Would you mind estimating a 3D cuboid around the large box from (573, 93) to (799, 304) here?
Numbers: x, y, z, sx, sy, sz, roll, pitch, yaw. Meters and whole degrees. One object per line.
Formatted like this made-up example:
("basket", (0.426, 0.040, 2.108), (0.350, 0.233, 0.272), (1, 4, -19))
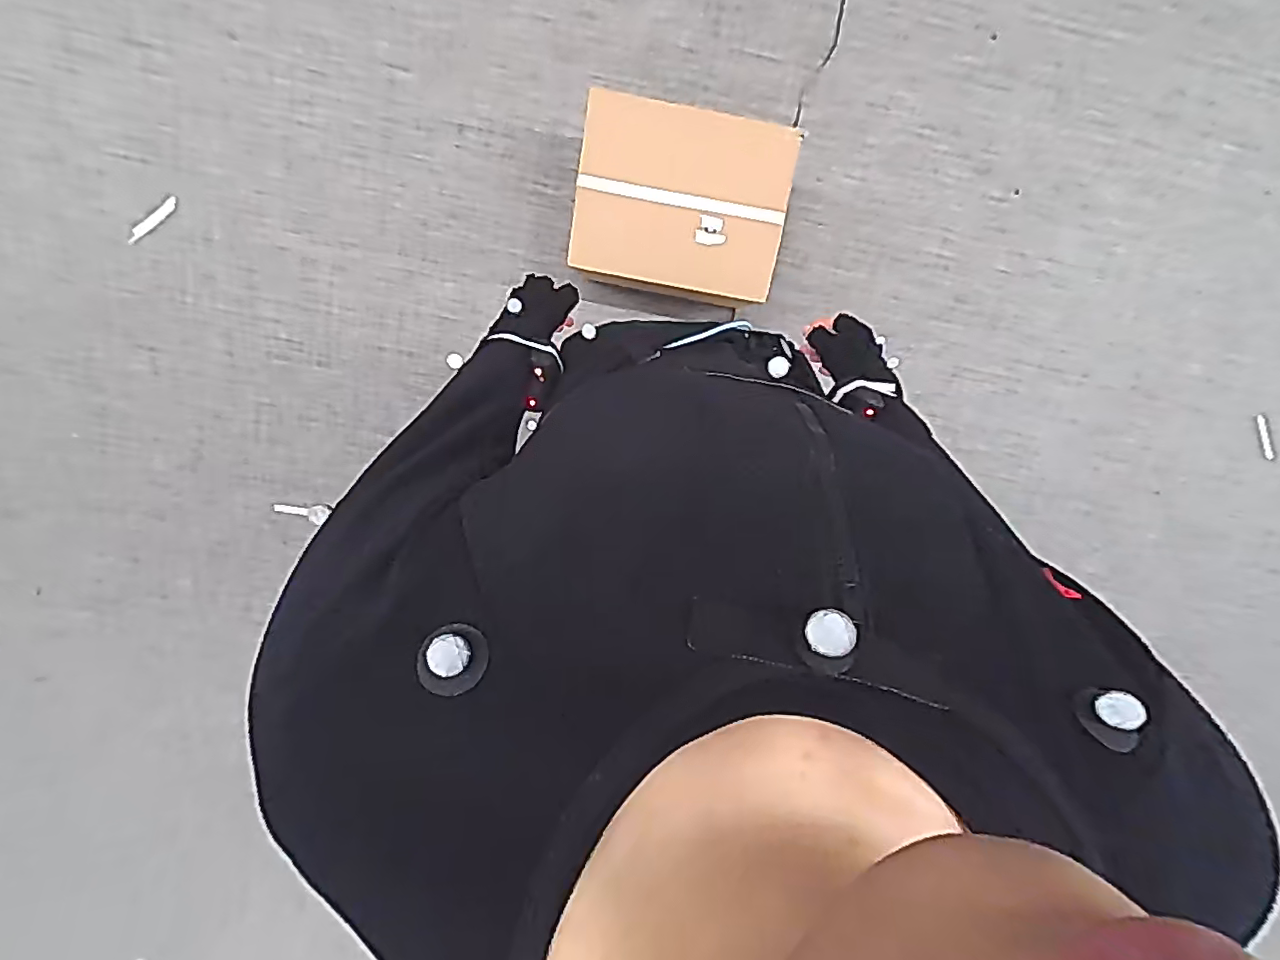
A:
("large box", (0.080, -0.586, 1.194), (0.408, 0.320, 0.320), (10, 107, -3))
